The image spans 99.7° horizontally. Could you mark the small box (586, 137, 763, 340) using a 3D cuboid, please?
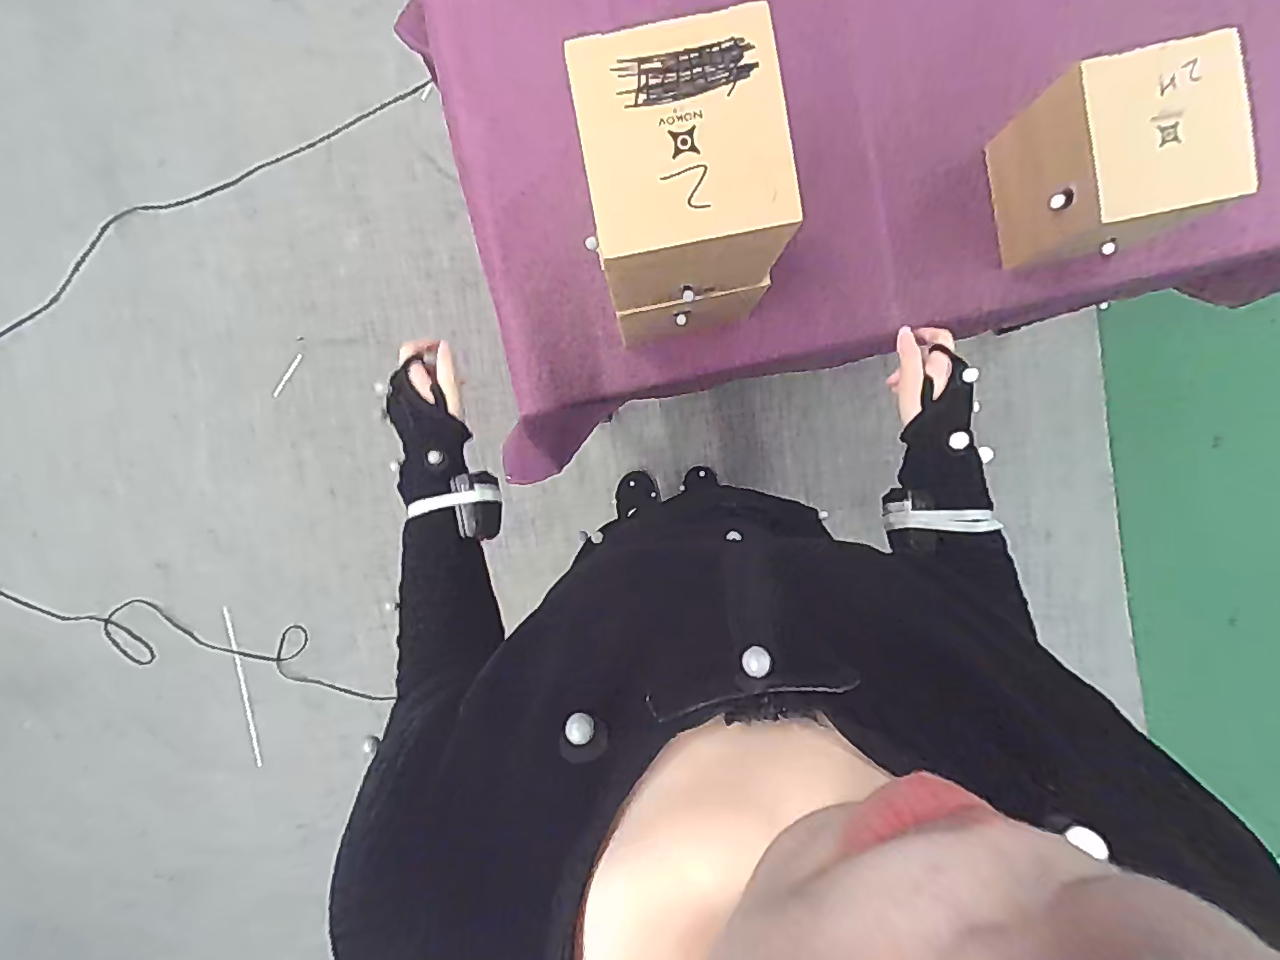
[{"bbox_3d":[0.041,-0.285,0.677,0.179,0.176,0.168,-11,93,1],"label":"small box"}]

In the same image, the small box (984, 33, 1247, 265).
[{"bbox_3d":[0.556,-0.378,0.656,0.168,0.176,0.179,-10,93,2],"label":"small box"}]
